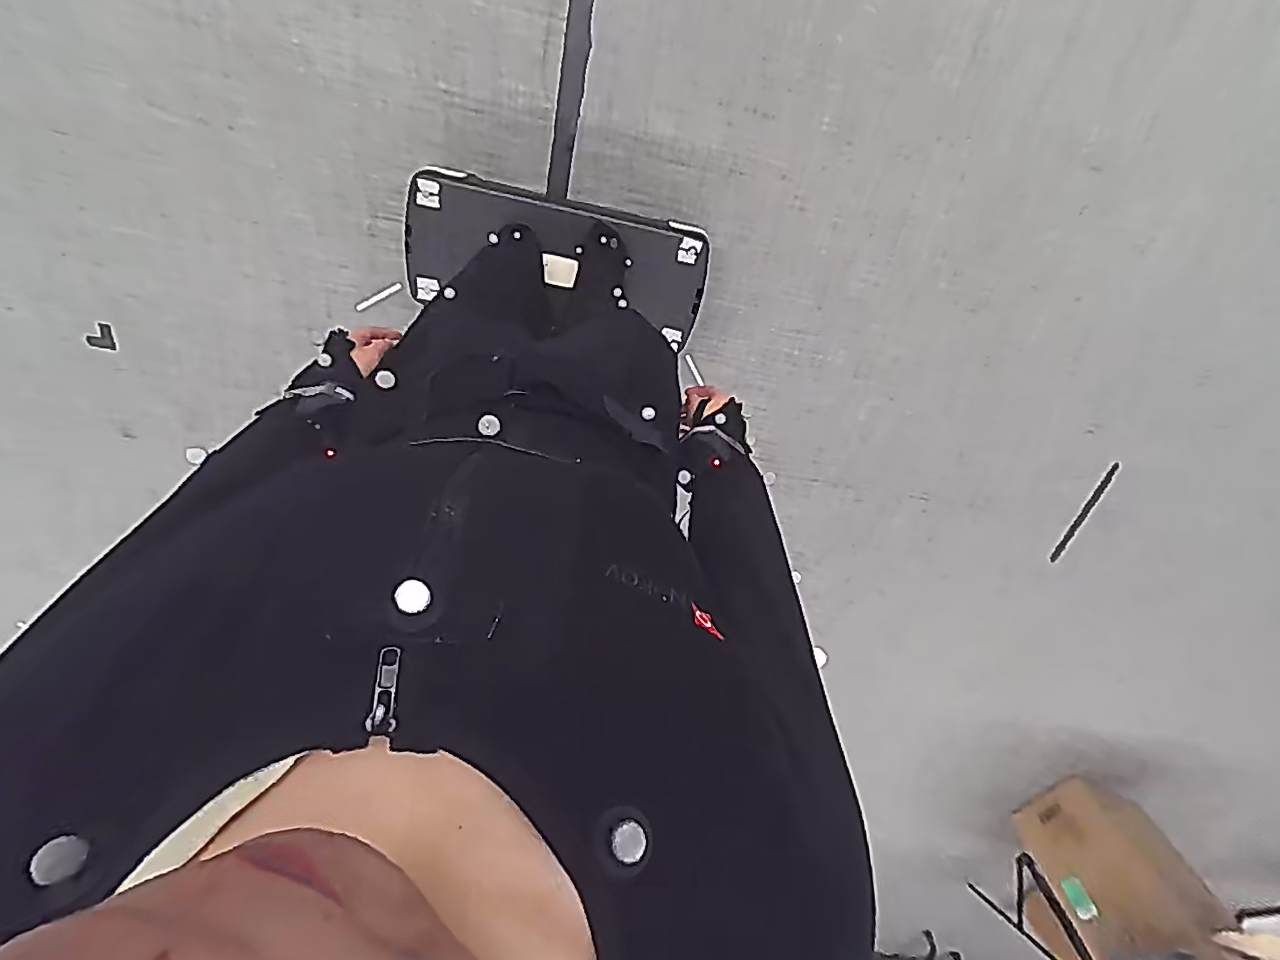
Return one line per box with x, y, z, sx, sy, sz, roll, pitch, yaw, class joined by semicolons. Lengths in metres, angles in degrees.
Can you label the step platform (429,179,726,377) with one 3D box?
-0.143;-0.475;1.301;0.684;0.204;0.286;13;117;-10;step platform
